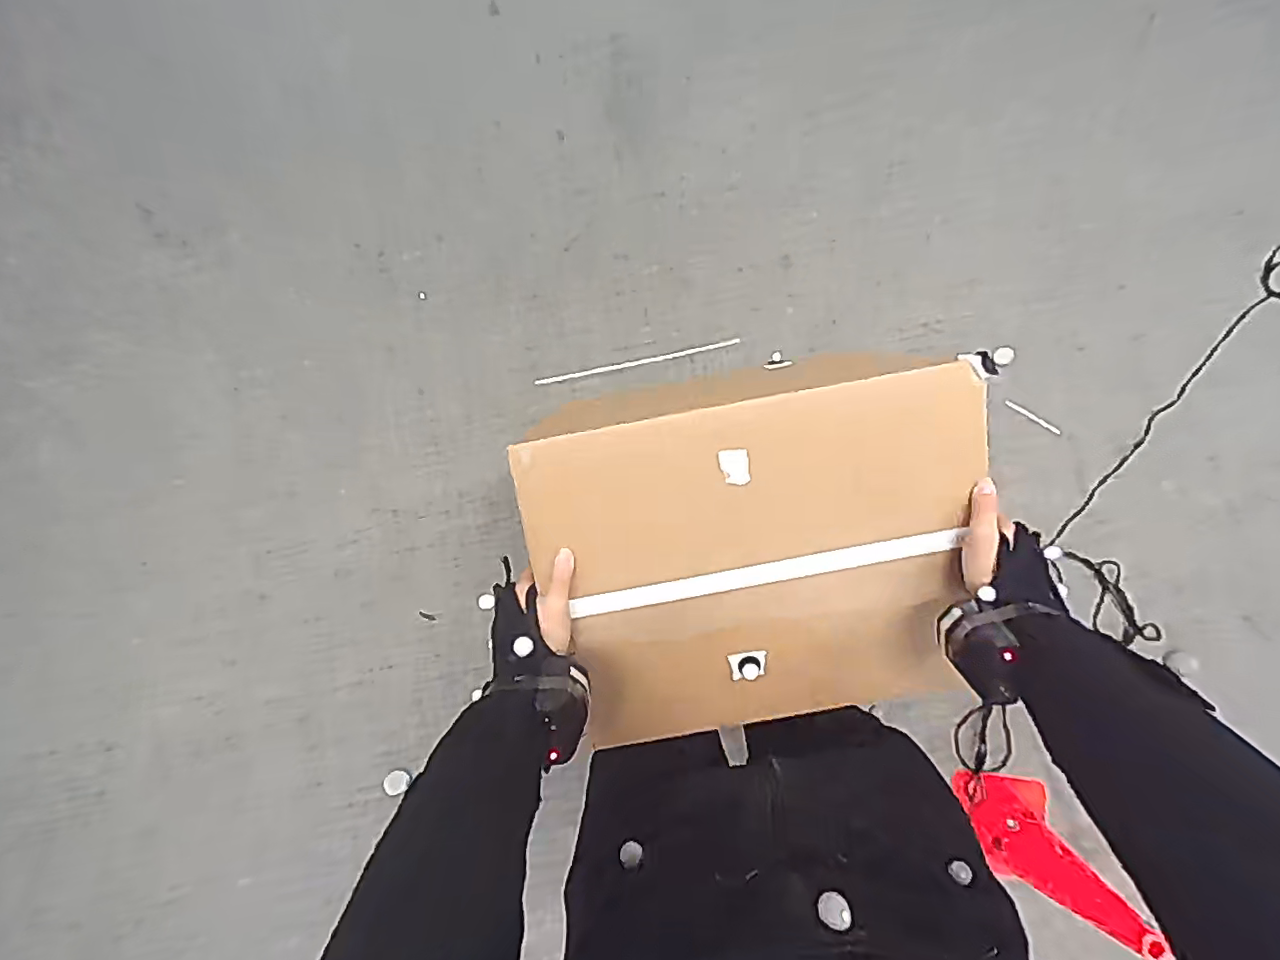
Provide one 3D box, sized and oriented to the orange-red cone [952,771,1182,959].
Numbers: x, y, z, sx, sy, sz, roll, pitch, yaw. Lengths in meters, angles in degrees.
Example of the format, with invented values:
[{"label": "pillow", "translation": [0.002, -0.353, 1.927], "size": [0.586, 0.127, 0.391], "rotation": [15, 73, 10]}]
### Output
[{"label": "orange-red cone", "translation": [0.752, 0.693, 0.942], "size": [0.199, 0.360, 0.198], "rotation": [9, 84, 0]}]
